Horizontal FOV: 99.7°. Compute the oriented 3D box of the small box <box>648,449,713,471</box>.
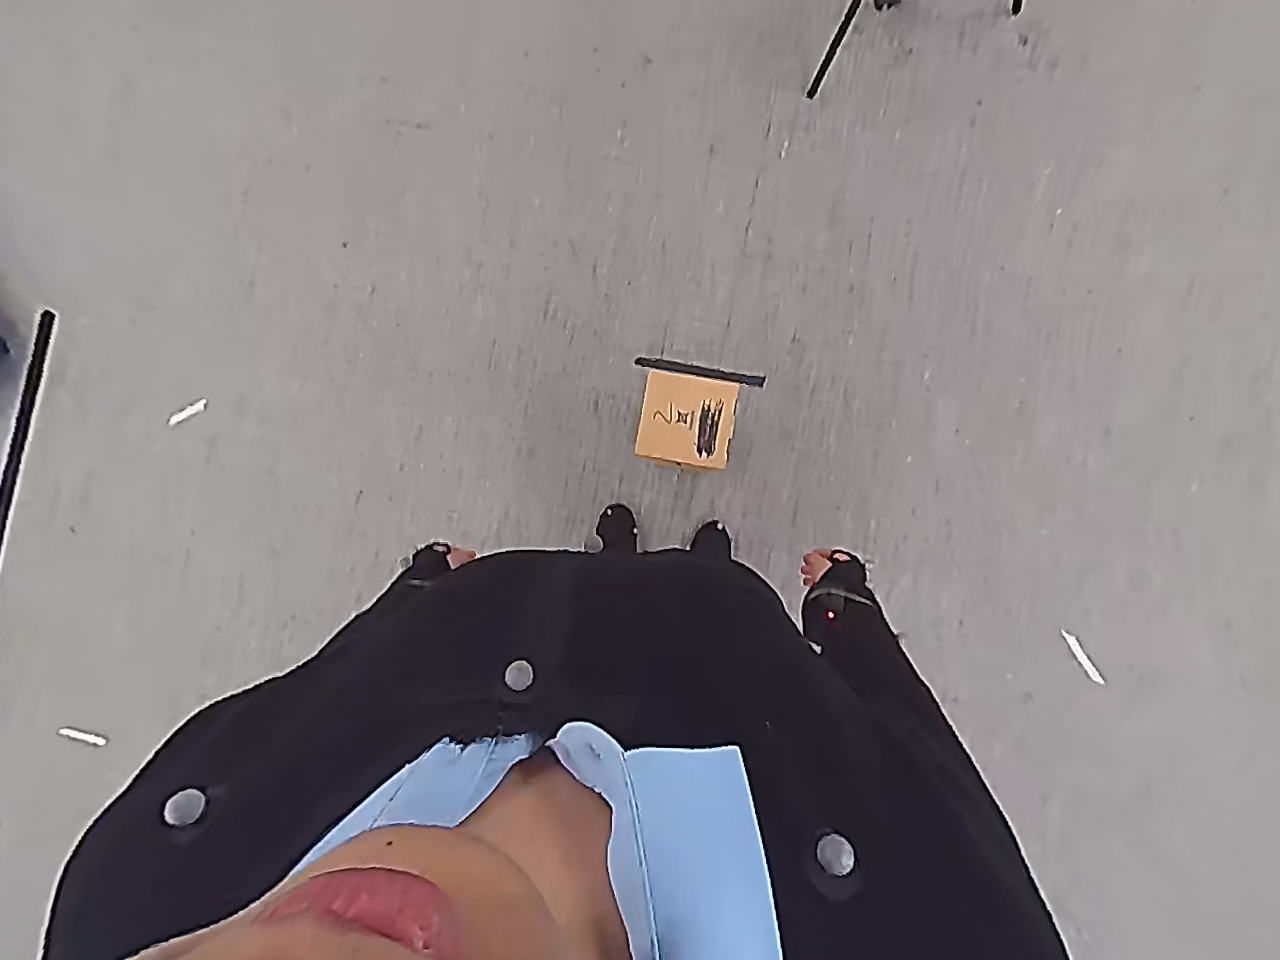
[{"bbox_3d":[0.122,-0.122,1.415,0.168,0.176,0.179,10,89,4],"label":"small box"}]

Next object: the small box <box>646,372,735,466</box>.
[{"bbox_3d":[0.115,-0.134,1.252,0.168,0.176,0.179,12,90,5],"label":"small box"}]
